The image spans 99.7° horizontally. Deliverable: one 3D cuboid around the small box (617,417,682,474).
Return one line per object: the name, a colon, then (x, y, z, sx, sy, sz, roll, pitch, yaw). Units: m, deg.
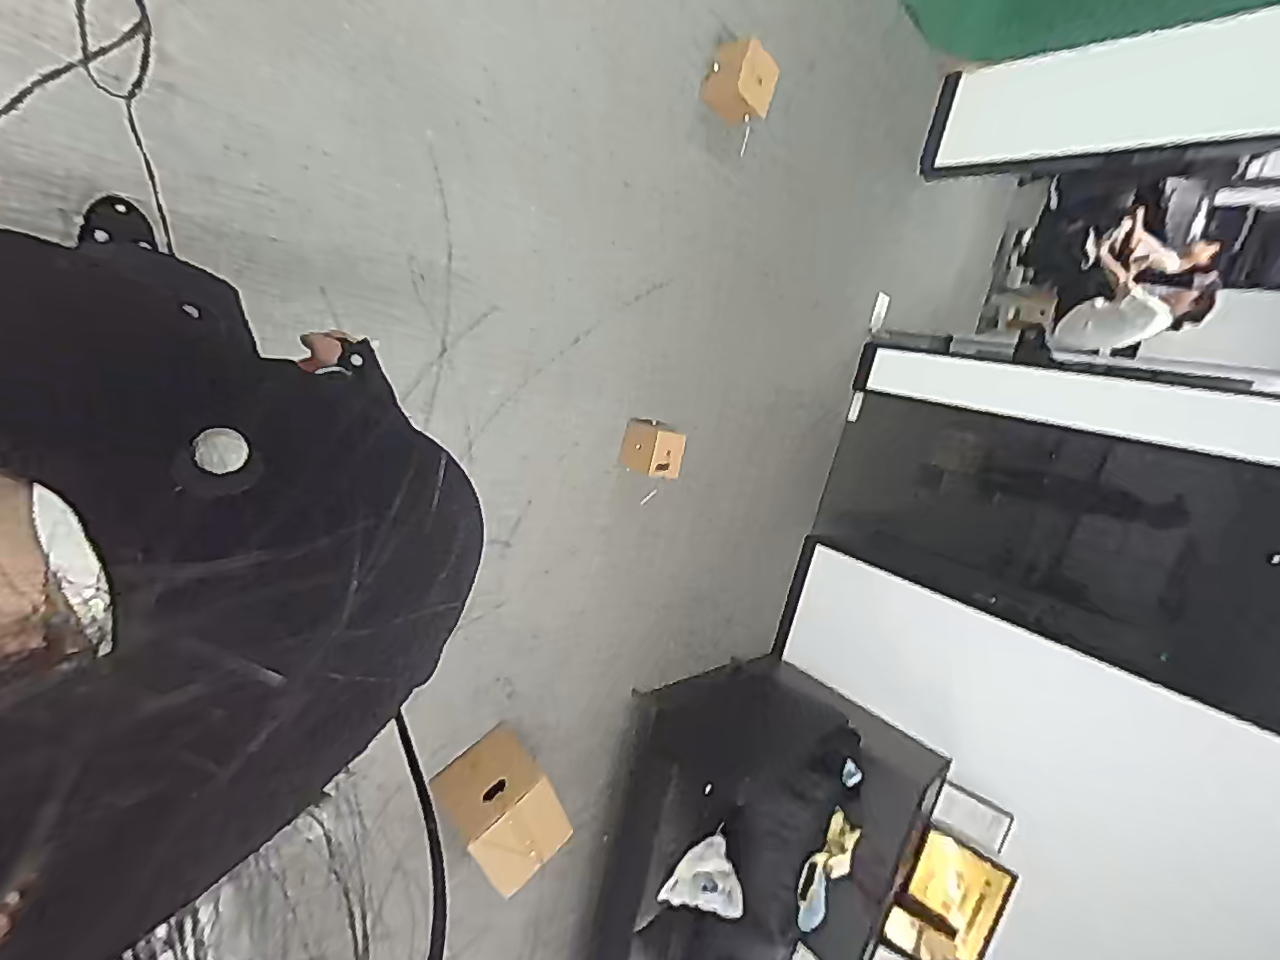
small box: (0.032, -0.132, 2.083, 0.168, 0.176, 0.179, 3, 105, -45)

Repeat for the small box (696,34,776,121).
small box: (0.322, -1.341, 1.817, 0.179, 0.176, 0.168, 10, 100, -46)
